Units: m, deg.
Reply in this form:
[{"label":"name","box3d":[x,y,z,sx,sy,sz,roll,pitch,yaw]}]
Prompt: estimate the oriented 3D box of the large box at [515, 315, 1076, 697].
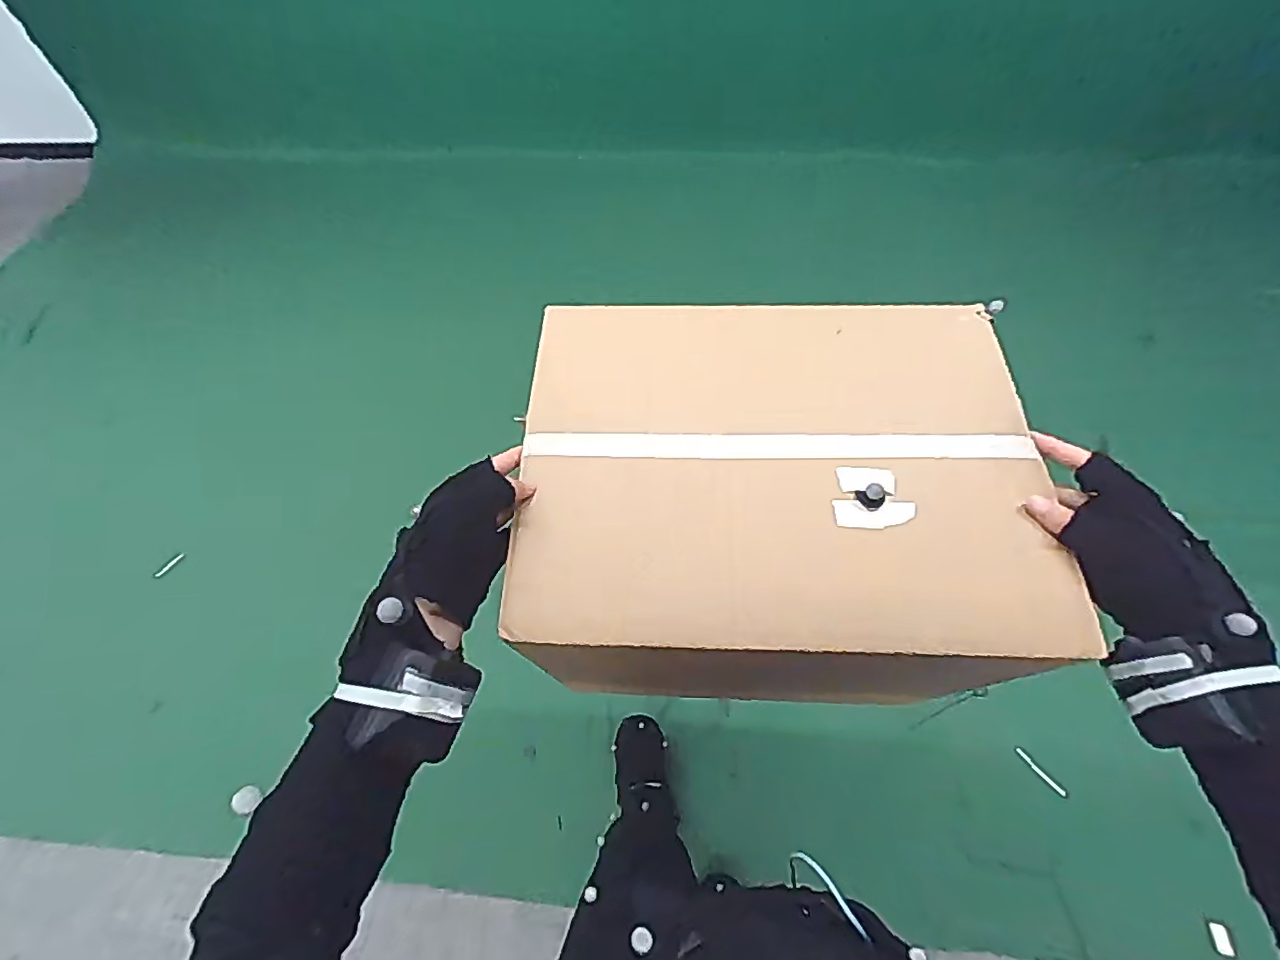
[{"label":"large box","box3d":[0.112,0.051,0.581,0.408,0.320,0.320,0,63,3]}]
